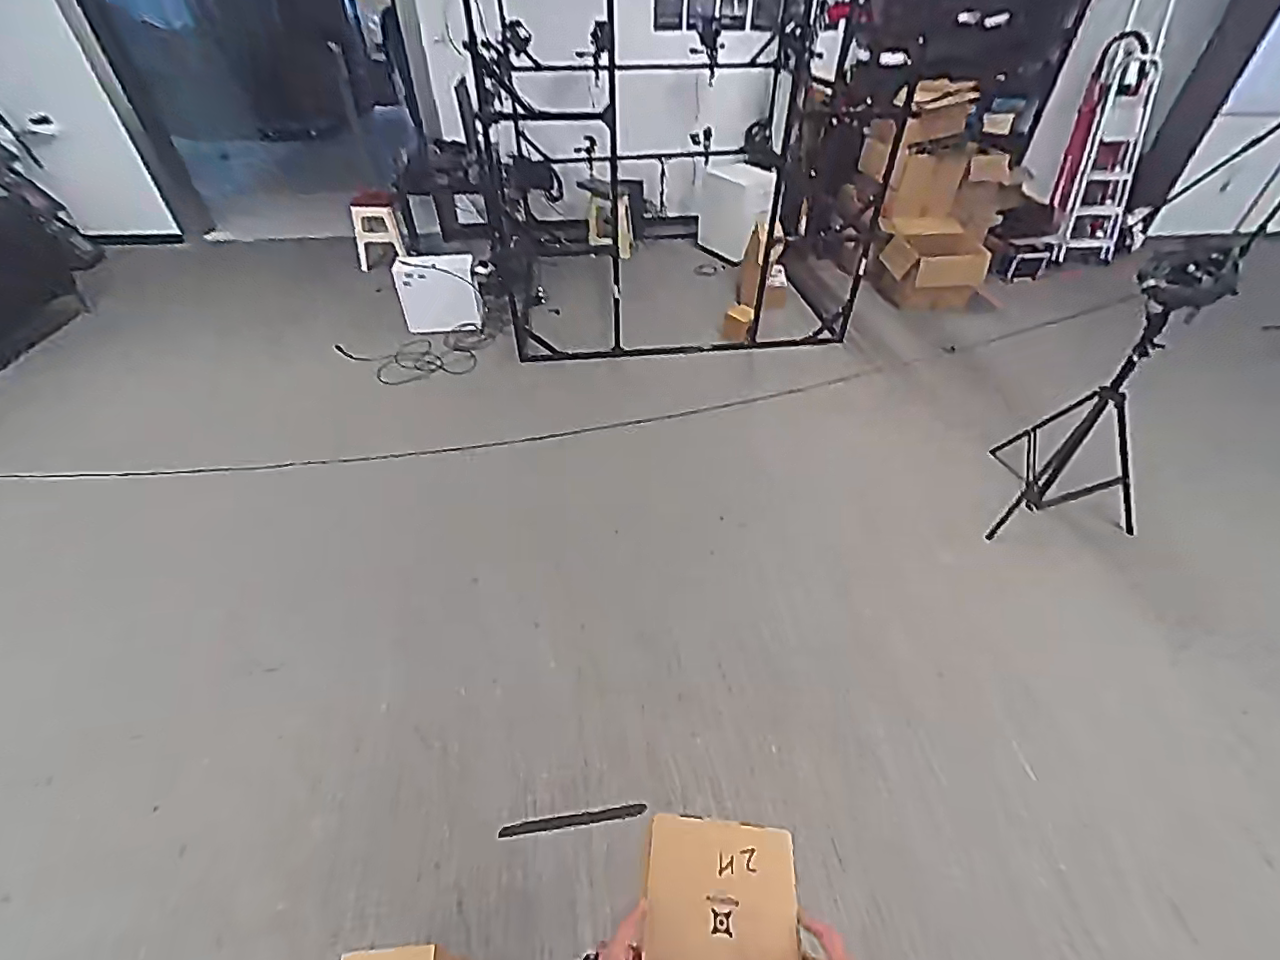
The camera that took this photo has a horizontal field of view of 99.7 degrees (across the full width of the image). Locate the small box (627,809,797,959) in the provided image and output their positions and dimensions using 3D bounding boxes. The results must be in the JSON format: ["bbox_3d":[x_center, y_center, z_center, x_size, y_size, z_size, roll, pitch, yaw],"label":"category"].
[{"bbox_3d":[0.076,0.513,0.630,0.168,0.176,0.179,8,46,0],"label":"small box"}]

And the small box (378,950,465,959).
[{"bbox_3d":[-0.454,1.101,1.111,0.168,0.176,0.179,-4,42,-4],"label":"small box"}]
